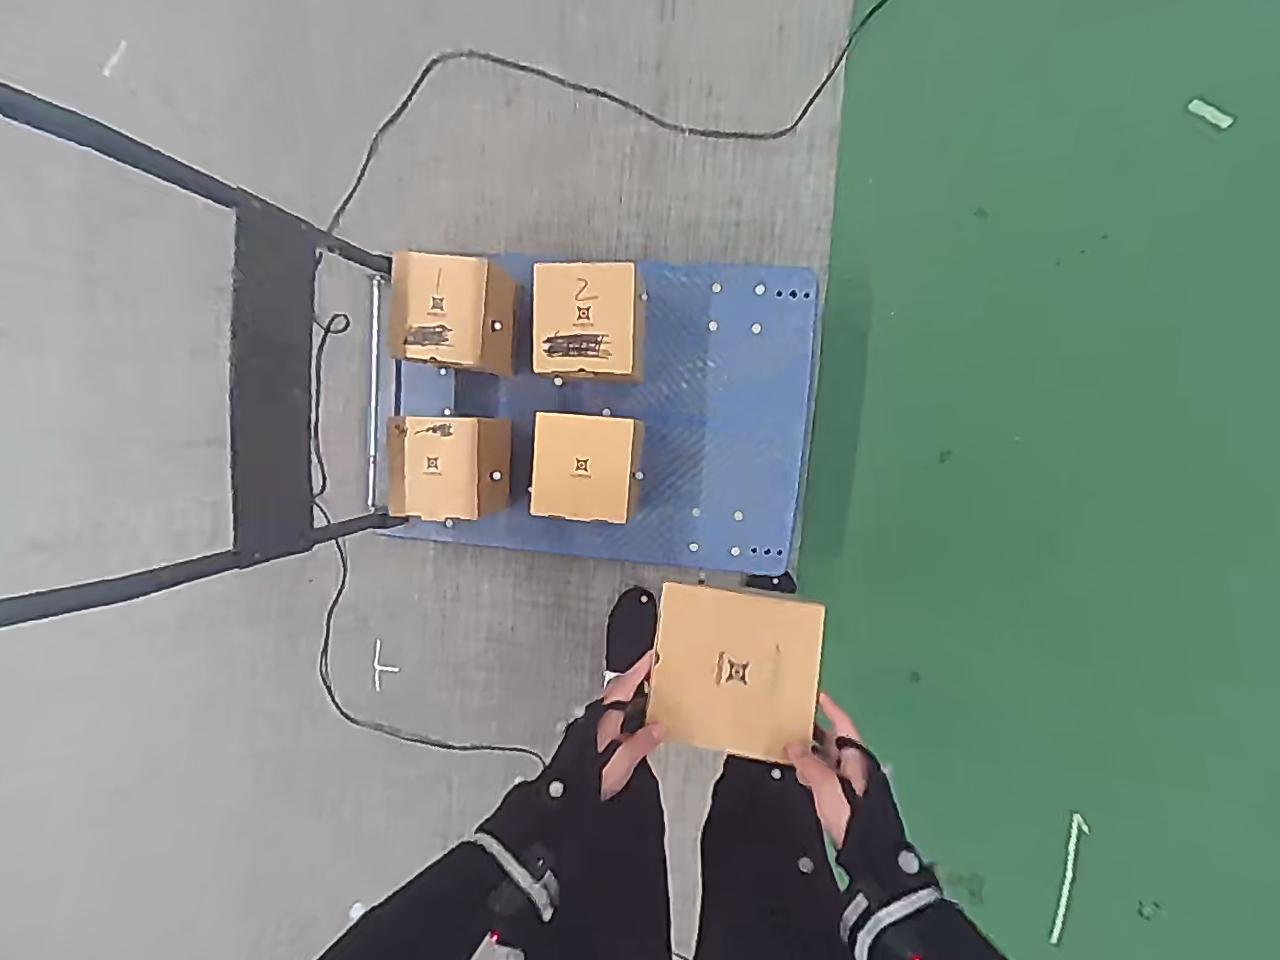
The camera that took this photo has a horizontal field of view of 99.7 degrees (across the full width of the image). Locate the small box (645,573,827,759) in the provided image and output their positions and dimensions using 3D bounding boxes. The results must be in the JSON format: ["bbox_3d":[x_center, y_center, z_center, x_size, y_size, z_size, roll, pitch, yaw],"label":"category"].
[{"bbox_3d":[0.110,0.208,0.653,0.179,0.176,0.168,8,83,7],"label":"small box"}]

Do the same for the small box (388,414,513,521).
[{"bbox_3d":[-0.340,-0.030,0.996,0.168,0.176,0.179,3,96,6],"label":"small box"}]

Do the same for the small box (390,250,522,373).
[{"bbox_3d":[-0.320,-0.291,0.968,0.168,0.176,0.179,8,96,6],"label":"small box"}]
